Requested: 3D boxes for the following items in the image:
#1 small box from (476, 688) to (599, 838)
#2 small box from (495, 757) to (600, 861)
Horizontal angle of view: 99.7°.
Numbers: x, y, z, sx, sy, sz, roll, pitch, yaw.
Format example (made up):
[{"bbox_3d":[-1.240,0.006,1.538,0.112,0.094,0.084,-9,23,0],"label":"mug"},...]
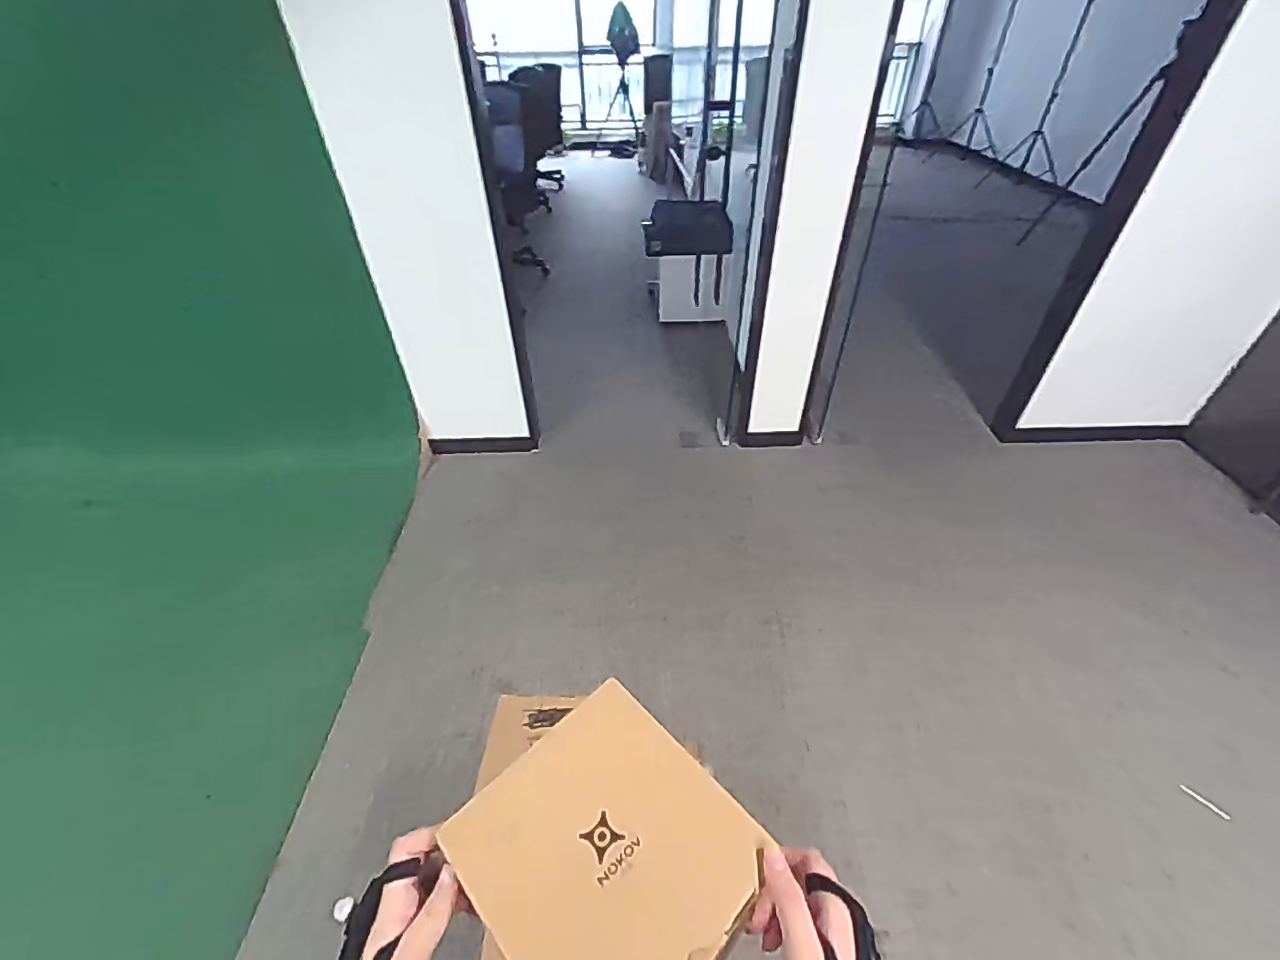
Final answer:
[{"bbox_3d":[-0.164,0.484,0.930,0.168,0.176,0.179,0,39,3],"label":"small box"},{"bbox_3d":[-0.168,0.604,1.045,0.168,0.176,0.179,-1,38,1],"label":"small box"}]
